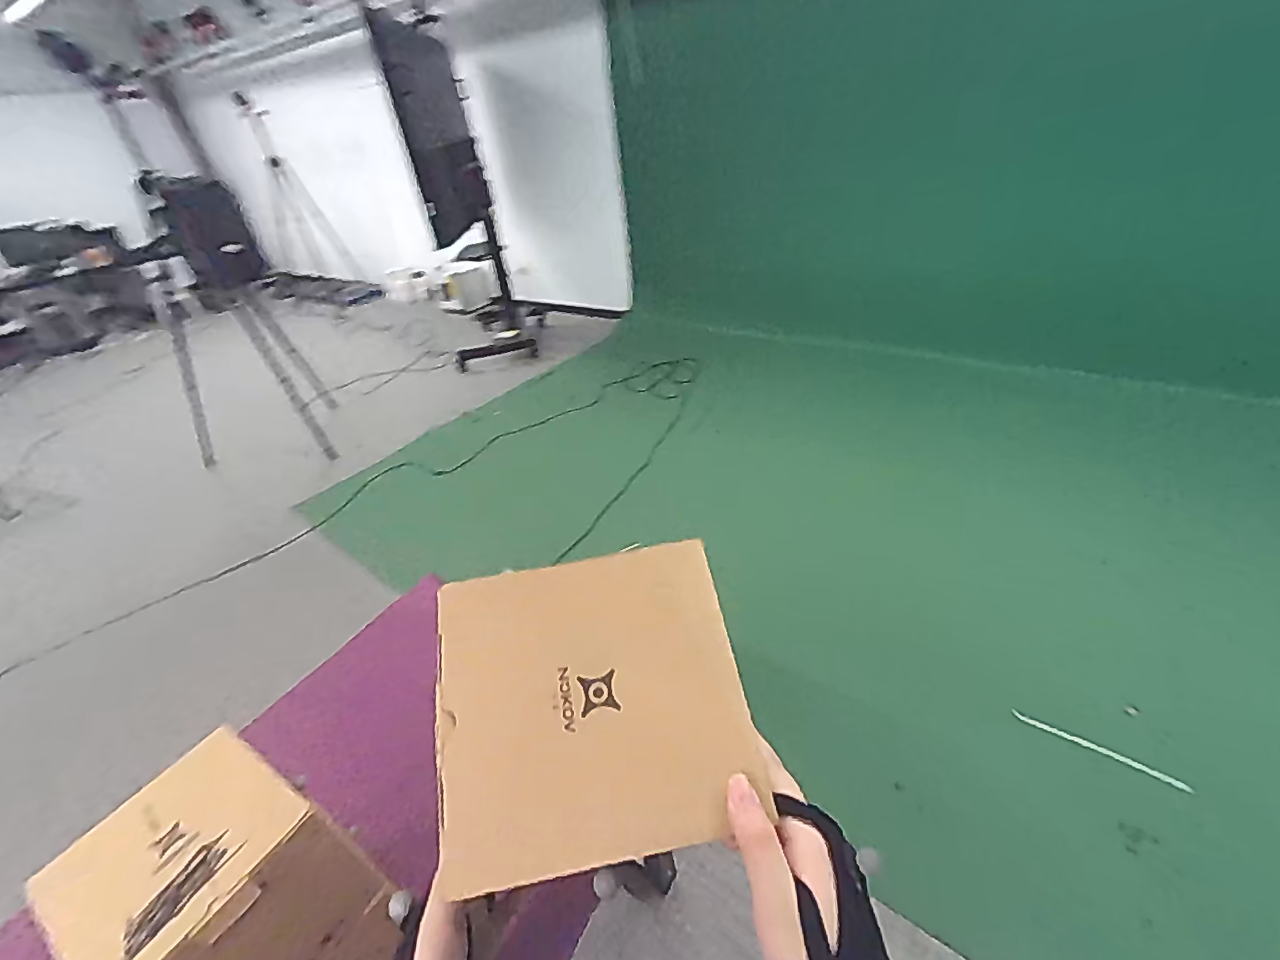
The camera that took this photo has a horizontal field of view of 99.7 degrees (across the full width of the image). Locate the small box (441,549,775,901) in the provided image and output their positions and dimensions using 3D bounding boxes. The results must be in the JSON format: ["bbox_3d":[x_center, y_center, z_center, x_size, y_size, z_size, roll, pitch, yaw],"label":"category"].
[{"bbox_3d":[-0.025,0.168,0.383,0.179,0.176,0.168,-10,59,-3],"label":"small box"}]

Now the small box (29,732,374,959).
[{"bbox_3d":[-0.394,0.388,0.513,0.179,0.176,0.168,13,39,30],"label":"small box"}]
